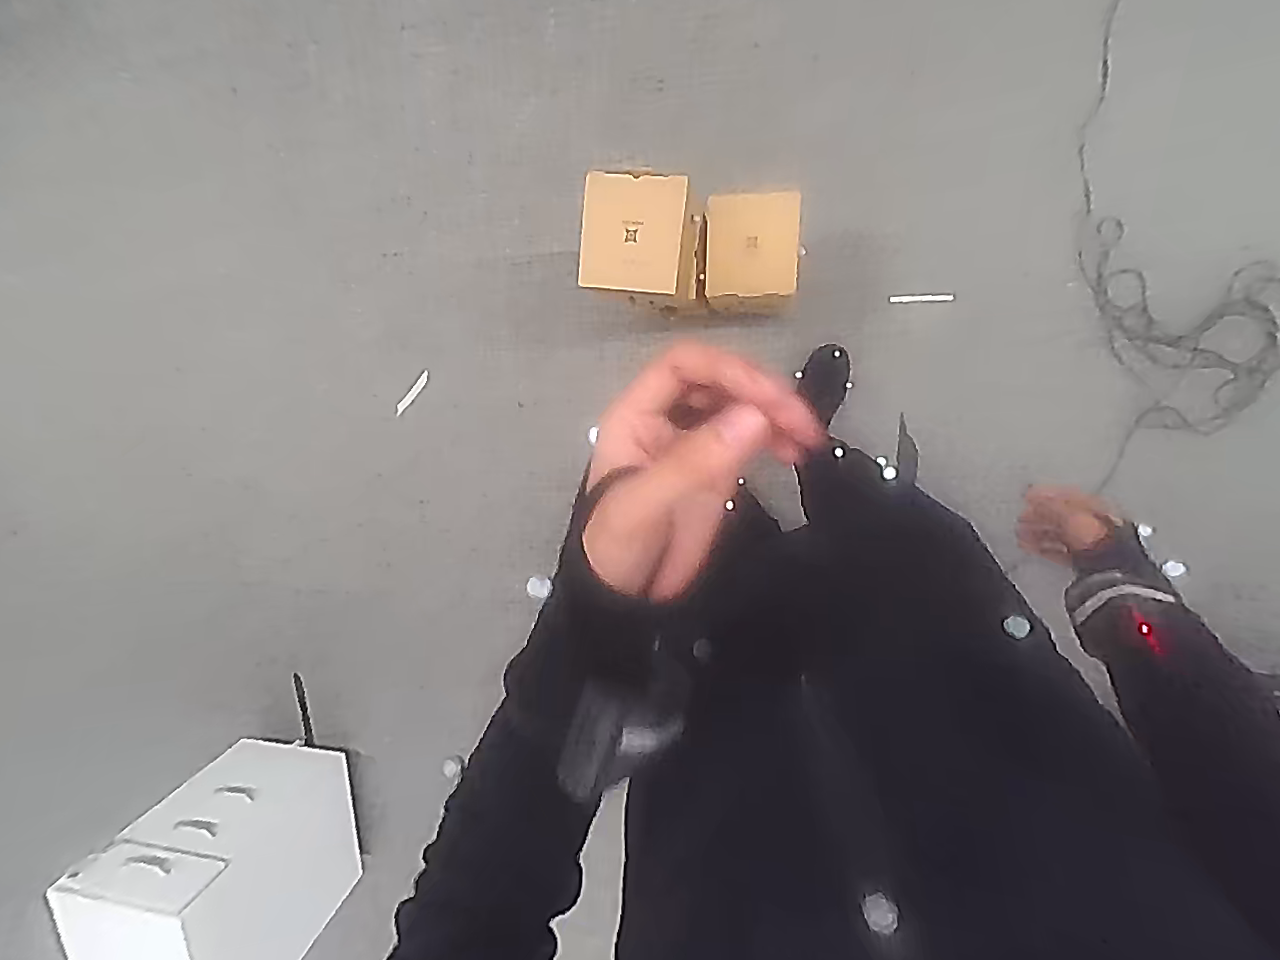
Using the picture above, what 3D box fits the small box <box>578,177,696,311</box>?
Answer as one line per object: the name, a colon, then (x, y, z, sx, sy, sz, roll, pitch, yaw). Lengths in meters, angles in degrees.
small box: (0.002, -0.397, 0.934, 0.168, 0.176, 0.179, 9, 104, 10)
